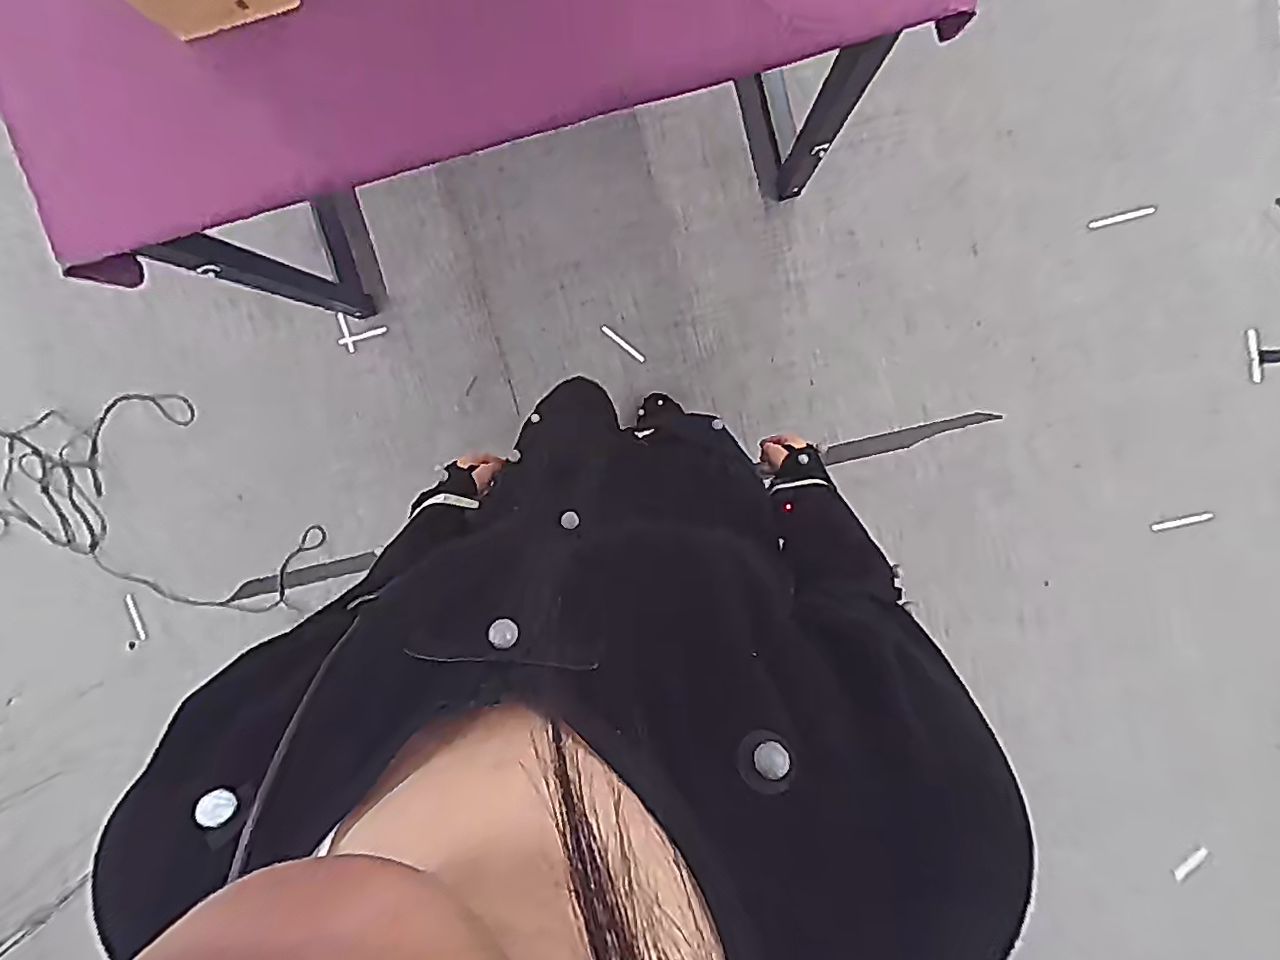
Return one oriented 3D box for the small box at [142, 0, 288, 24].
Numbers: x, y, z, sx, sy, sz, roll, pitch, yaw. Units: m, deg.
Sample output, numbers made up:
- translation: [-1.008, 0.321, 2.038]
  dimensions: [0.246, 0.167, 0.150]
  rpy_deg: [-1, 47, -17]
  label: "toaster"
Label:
- translation: [-0.521, -0.646, 0.584]
  dimensions: [0.168, 0.176, 0.179]
  rpy_deg: [-13, 97, 4]
  label: "small box"
